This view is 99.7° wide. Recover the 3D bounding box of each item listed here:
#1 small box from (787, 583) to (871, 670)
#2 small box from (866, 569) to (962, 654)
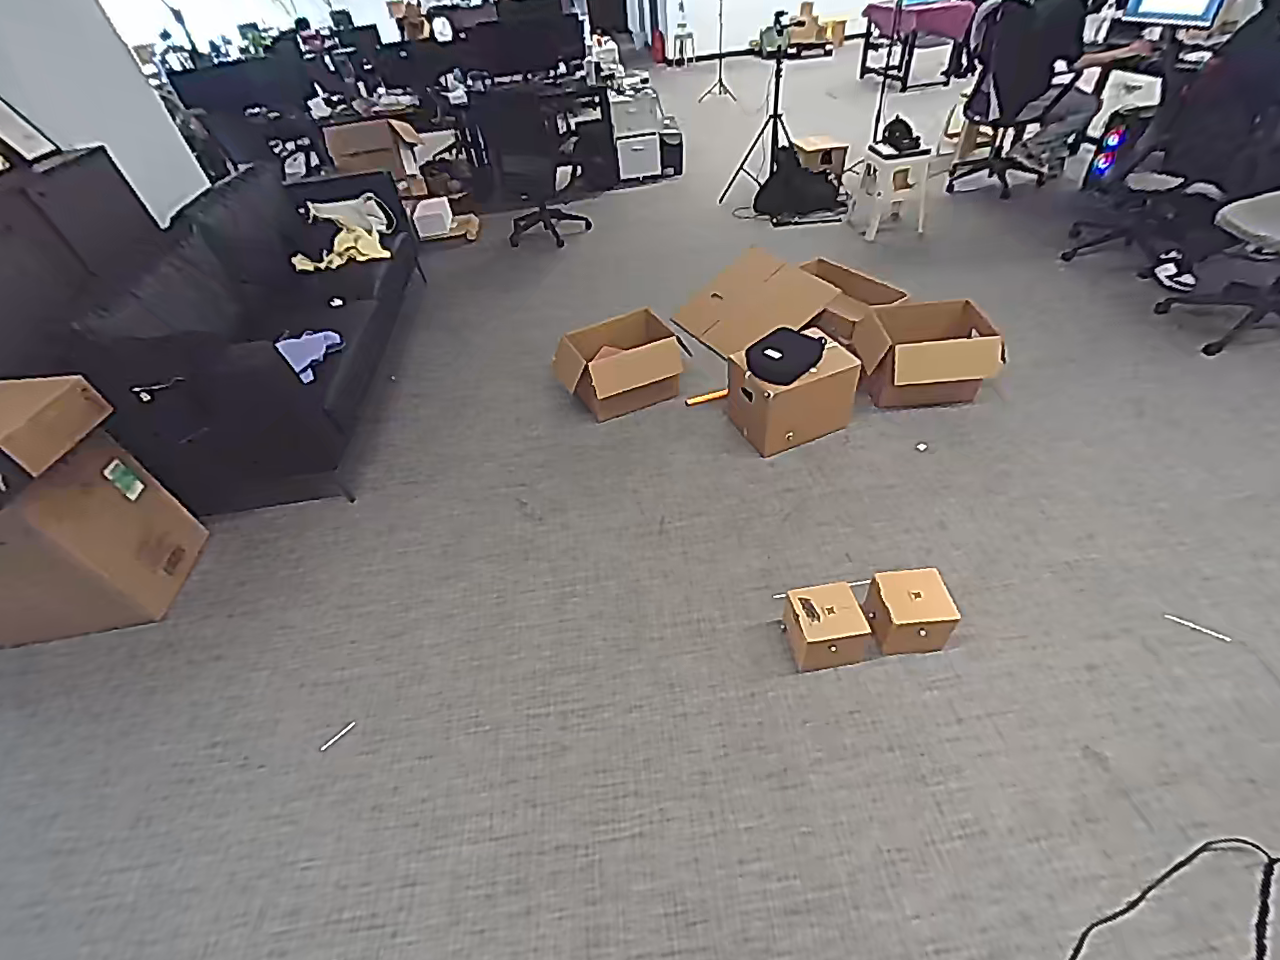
[{"bbox_3d":[0.519,0.415,1.518,0.179,0.176,0.168,-9,44,-1],"label":"small box"},{"bbox_3d":[0.761,0.373,1.524,0.179,0.176,0.168,-7,44,4],"label":"small box"}]
